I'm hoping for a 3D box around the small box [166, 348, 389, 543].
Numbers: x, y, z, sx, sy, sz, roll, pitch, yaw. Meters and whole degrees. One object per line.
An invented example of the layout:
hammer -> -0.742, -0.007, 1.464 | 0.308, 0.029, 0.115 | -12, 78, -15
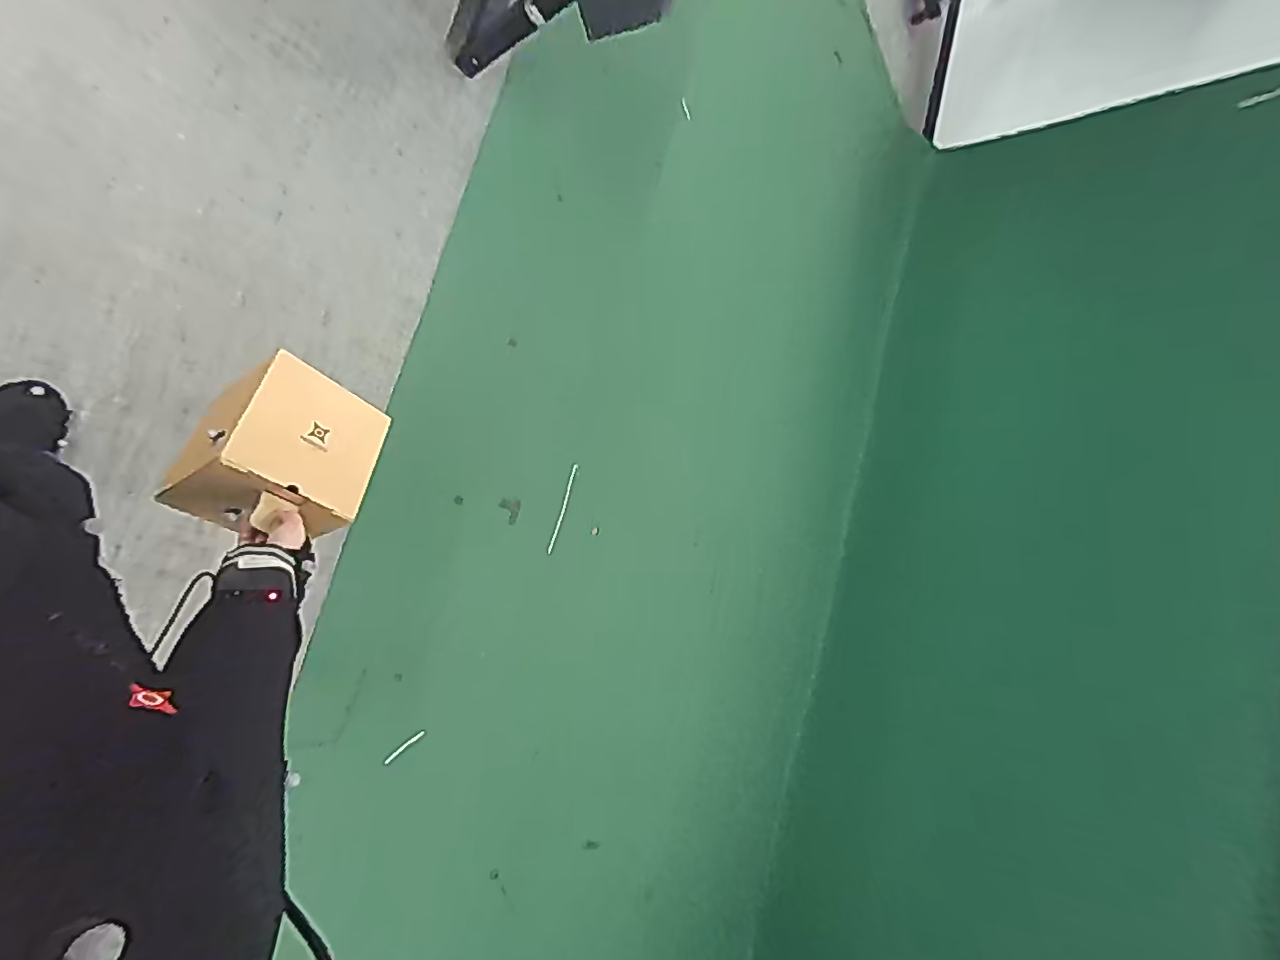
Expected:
small box -> -0.478, -0.037, 0.724 | 0.168, 0.176, 0.179 | 40, 42, -45
